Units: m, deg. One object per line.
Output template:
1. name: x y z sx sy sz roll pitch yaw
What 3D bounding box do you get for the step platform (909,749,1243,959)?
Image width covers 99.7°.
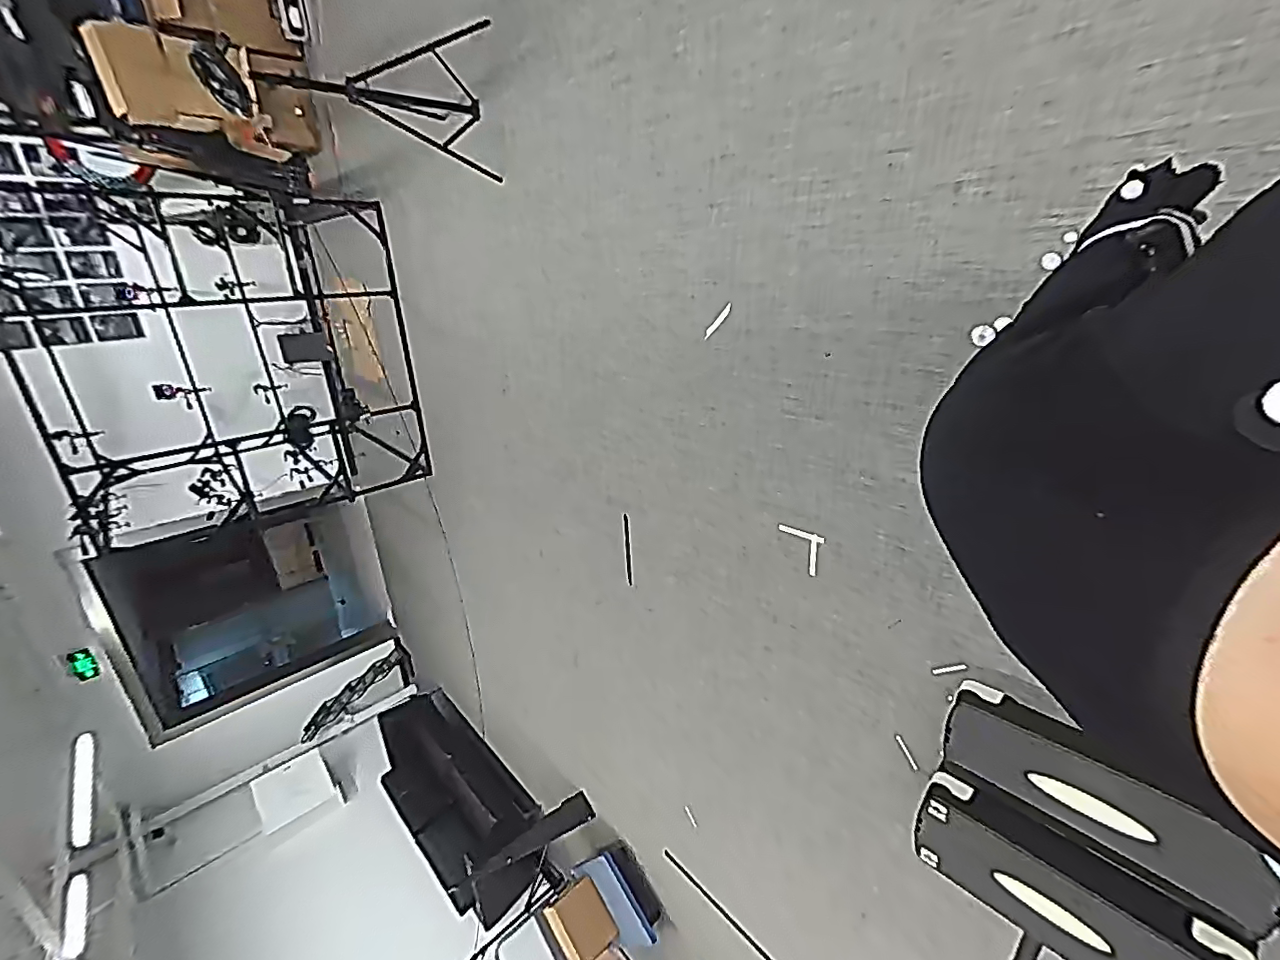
1. step platform: 1.105 1.060 1.458 0.684 0.204 0.286 19 121 46
